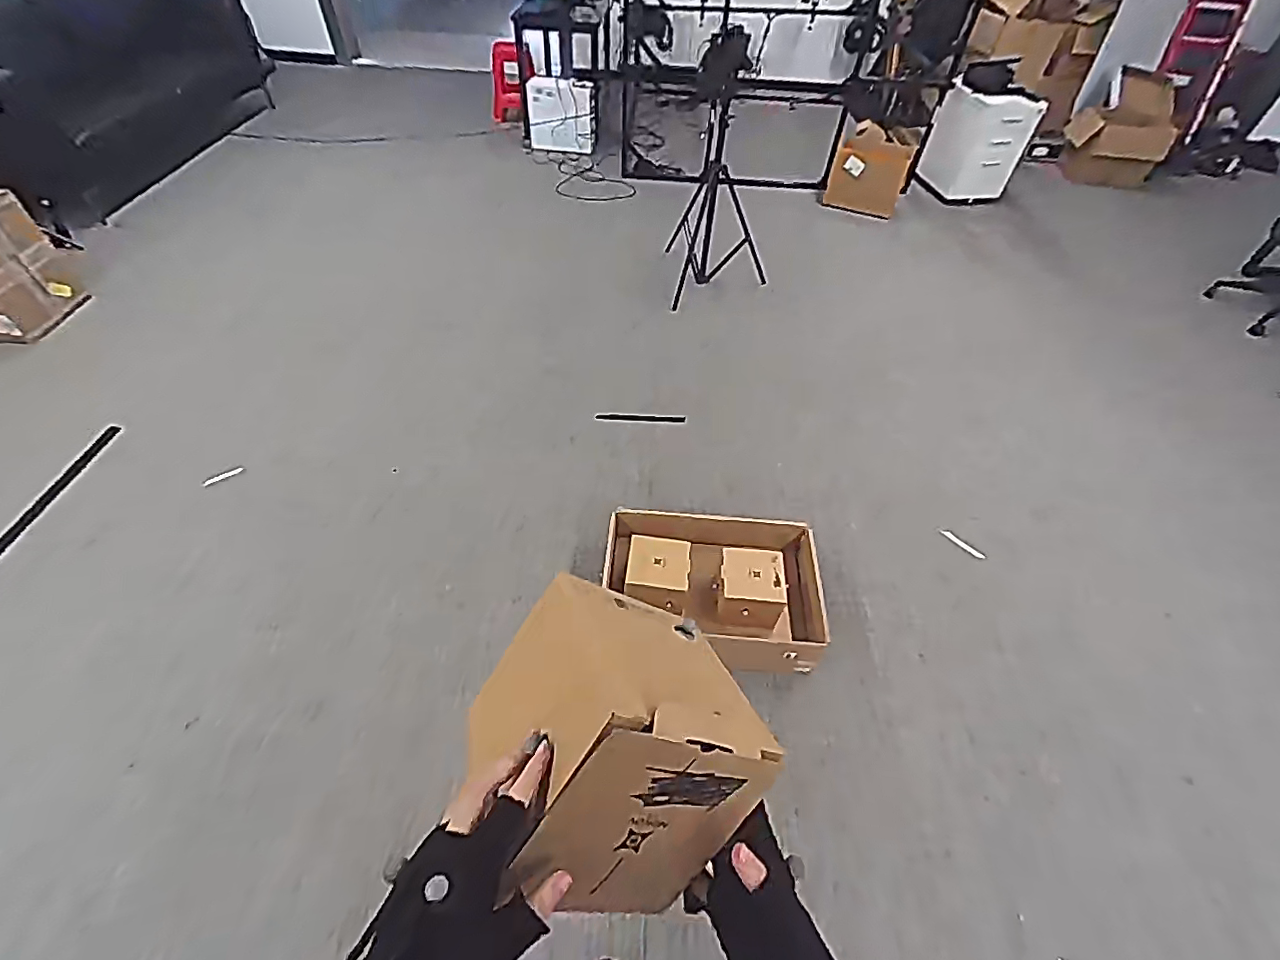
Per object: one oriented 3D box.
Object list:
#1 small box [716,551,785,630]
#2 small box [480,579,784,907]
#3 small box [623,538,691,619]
[{"bbox_3d":[0.314,0.324,1.578,0.179,0.176,0.168,3,50,2],"label":"small box"},{"bbox_3d":[-0.022,0.212,0.458,0.168,0.179,0.176,28,10,-29],"label":"small box"},{"bbox_3d":[0.048,0.294,1.589,0.179,0.176,0.168,7,49,2],"label":"small box"}]
